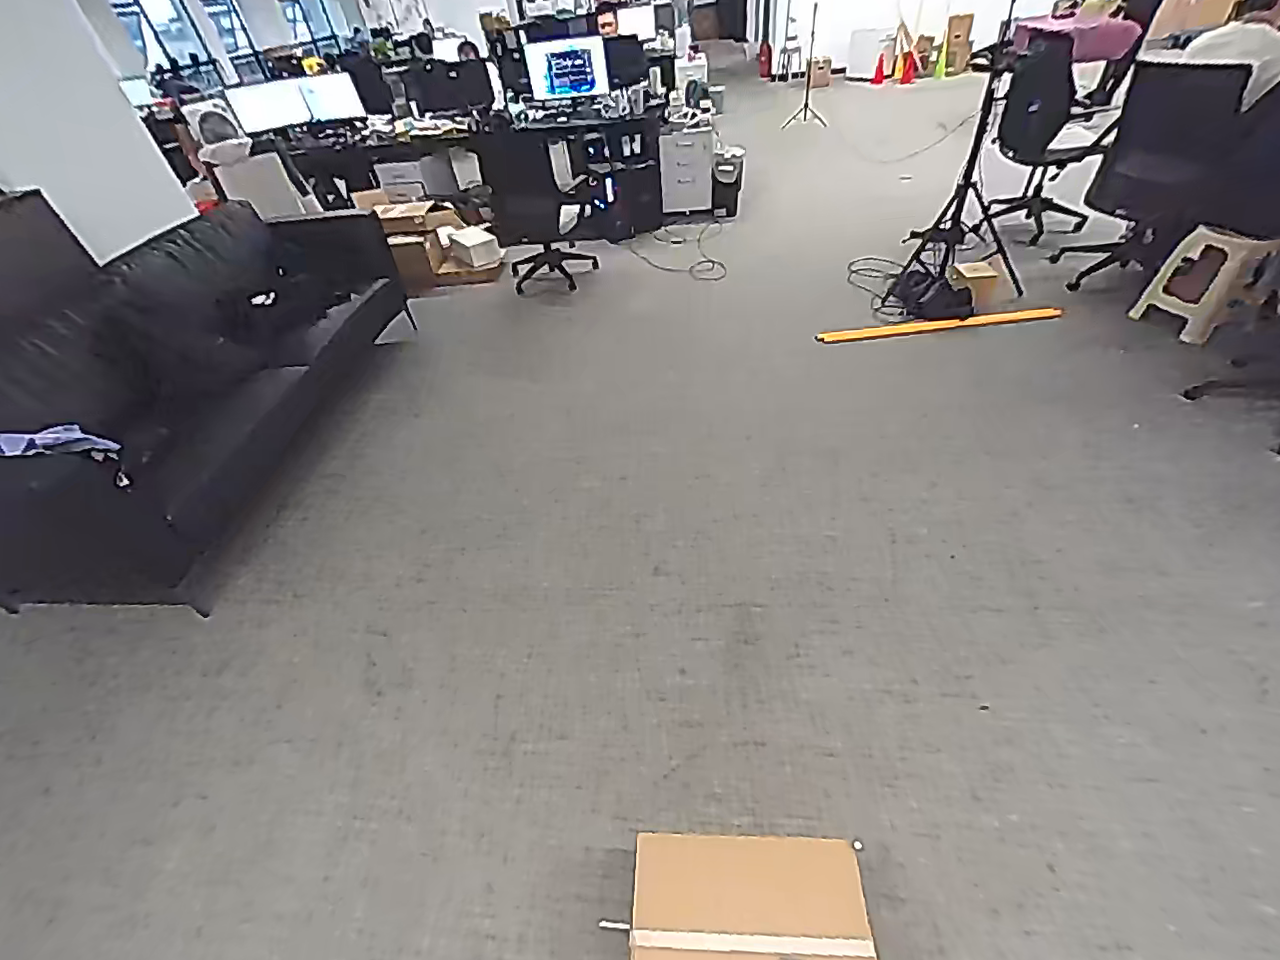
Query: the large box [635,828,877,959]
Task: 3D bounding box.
[{"bbox_3d":[0.203,0.880,1.015,0.408,0.320,0.320,-2,43,6],"label":"large box"}]
